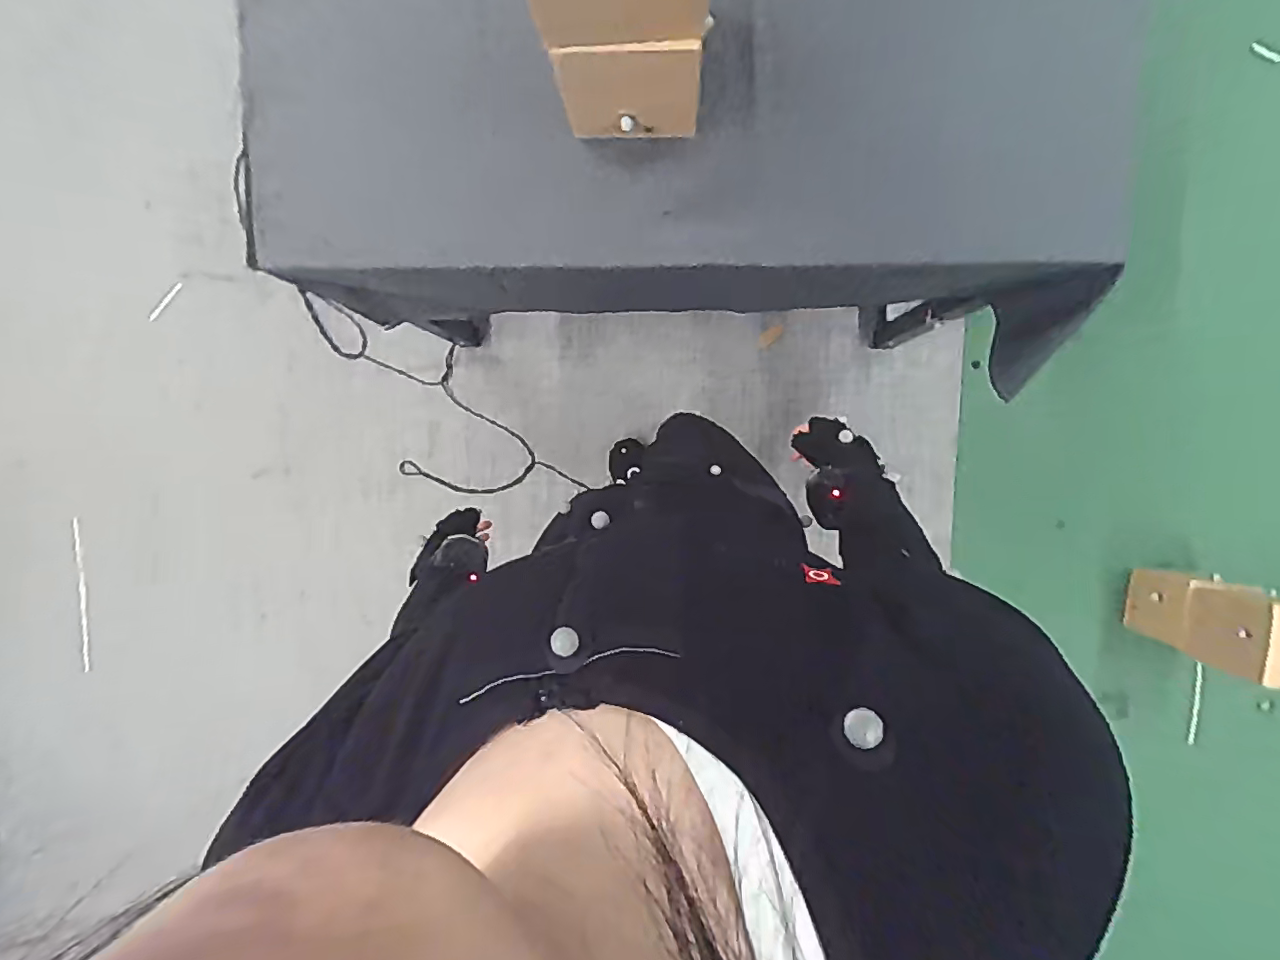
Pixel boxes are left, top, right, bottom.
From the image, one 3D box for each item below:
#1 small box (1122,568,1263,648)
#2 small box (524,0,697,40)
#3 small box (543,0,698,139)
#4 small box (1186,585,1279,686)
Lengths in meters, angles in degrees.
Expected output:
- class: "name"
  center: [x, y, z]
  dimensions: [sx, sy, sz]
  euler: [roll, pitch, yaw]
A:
- class: "small box"
  center: [1.365, 0.321, 1.350]
  dimensions: [0.179, 0.176, 0.168]
  euler: [6, 93, 2]
- class: "small box"
  center: [-0.029, -0.541, 0.484]
  dimensions: [0.179, 0.176, 0.168]
  euler: [-1, 92, 3]
- class: "small box"
  center: [-0.016, -0.546, 0.646]
  dimensions: [0.168, 0.176, 0.179]
  euler: [2, 94, 3]
- class: "small box"
  center: [1.366, 0.338, 1.186]
  dimensions: [0.168, 0.176, 0.179]
  euler: [5, 94, 3]
